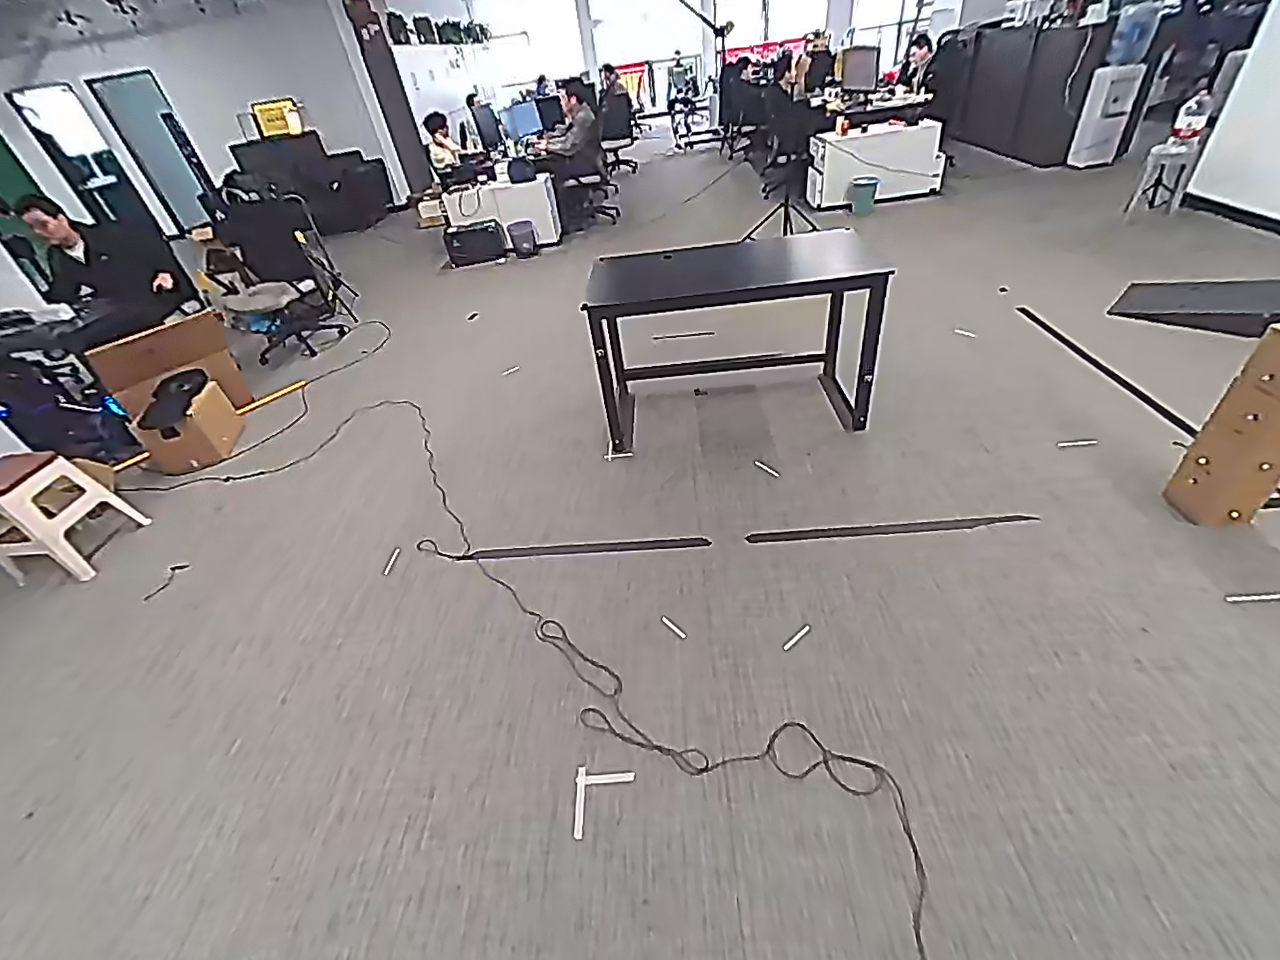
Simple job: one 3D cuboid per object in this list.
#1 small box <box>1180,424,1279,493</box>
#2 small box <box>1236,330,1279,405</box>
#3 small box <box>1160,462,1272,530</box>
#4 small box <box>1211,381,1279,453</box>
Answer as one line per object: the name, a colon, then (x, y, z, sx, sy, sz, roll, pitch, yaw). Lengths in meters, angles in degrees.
small box: (1.942, -0.074, 1.759, 0.179, 0.176, 0.168, -5, 39, 6)
small box: (1.905, -0.322, 1.550, 0.168, 0.176, 0.179, -6, 40, 5)
small box: (1.969, 0.050, 1.863, 0.168, 0.176, 0.179, -5, 39, 6)
small box: (1.923, -0.197, 1.655, 0.179, 0.176, 0.168, -5, 40, 5)
